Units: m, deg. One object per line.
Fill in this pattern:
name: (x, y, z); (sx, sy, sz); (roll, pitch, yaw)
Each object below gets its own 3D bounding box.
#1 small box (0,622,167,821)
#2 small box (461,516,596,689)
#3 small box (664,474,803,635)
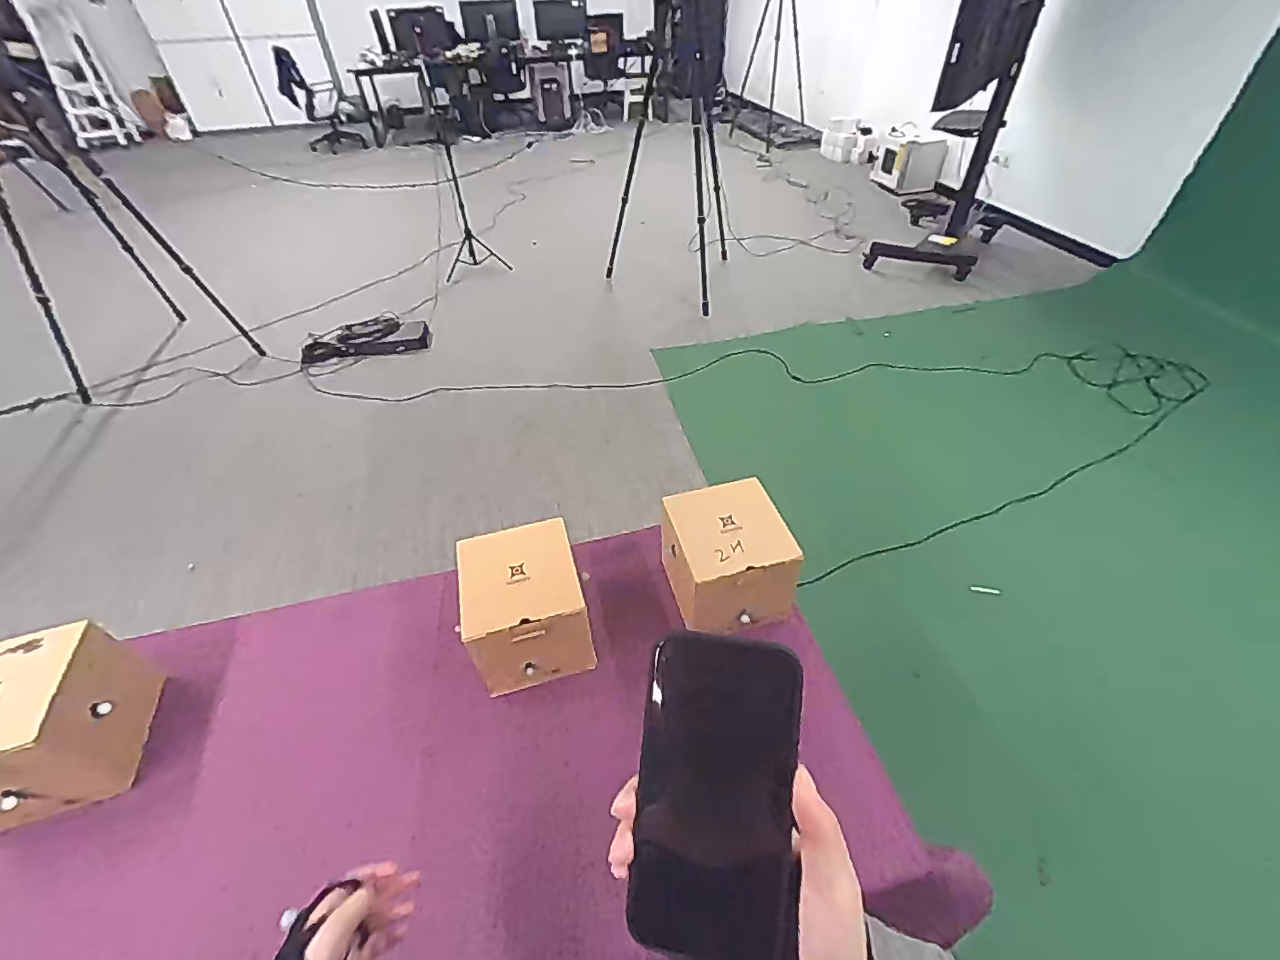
small box: (-0.787, 0.326, 0.720); (0.168, 0.176, 0.179); (-14, 46, -13)
small box: (-0.169, 0.187, 0.829); (0.168, 0.176, 0.179); (-13, 46, -10)
small box: (0.139, 0.120, 0.874); (0.168, 0.176, 0.179); (-13, 45, -8)
